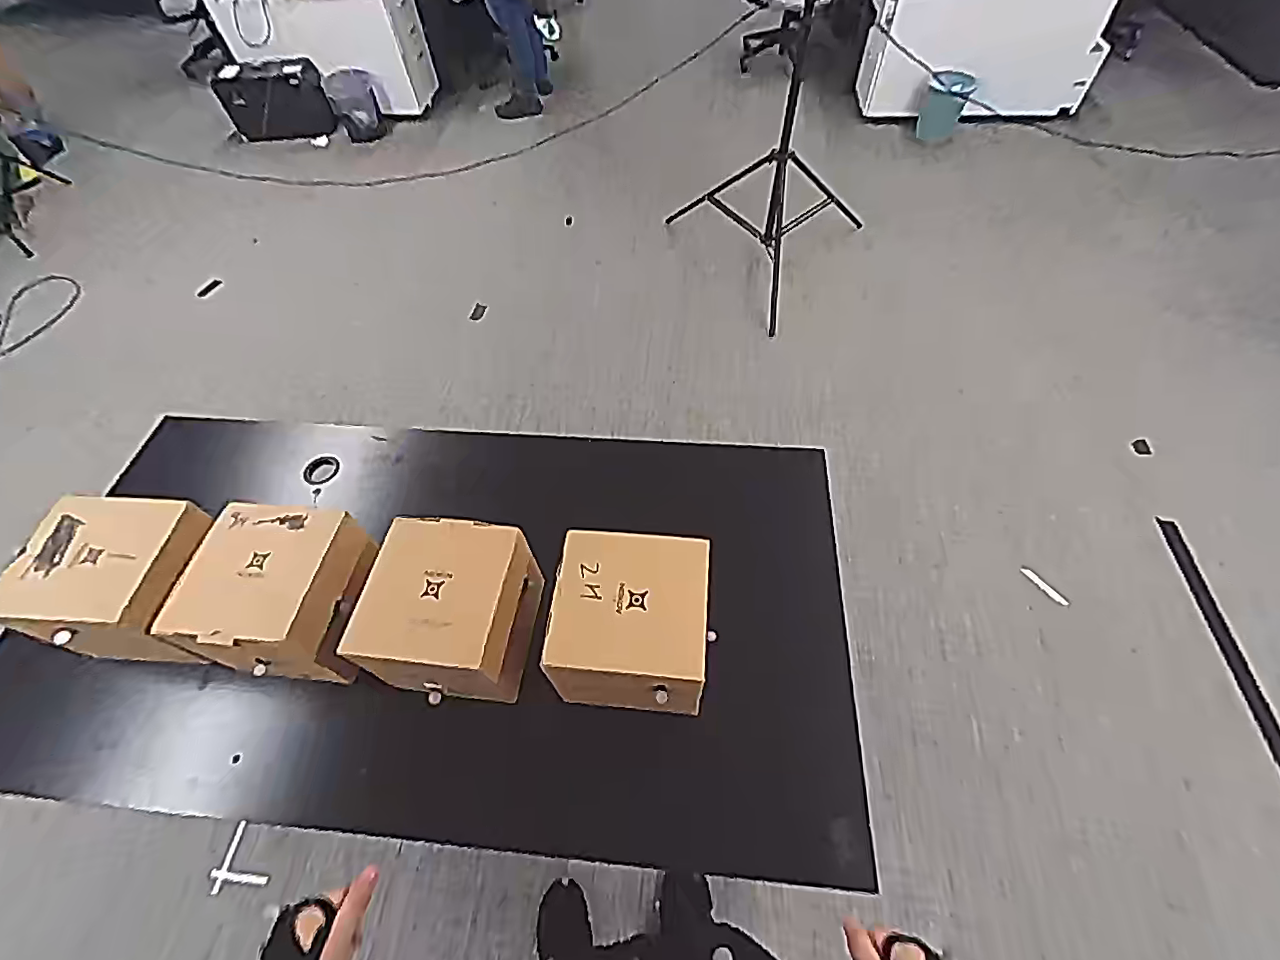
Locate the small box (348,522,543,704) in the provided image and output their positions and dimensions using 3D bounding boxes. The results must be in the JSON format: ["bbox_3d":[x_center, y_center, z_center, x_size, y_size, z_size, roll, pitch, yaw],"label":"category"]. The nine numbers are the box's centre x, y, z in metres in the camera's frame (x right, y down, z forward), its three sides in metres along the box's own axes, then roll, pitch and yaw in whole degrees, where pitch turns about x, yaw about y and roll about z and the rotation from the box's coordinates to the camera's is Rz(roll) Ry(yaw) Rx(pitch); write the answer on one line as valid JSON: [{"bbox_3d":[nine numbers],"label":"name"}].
[{"bbox_3d":[-0.232,0.175,0.703,0.168,0.176,0.179,3,56,6],"label":"small box"}]

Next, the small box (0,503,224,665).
[{"bbox_3d":[-0.670,0.146,0.740,0.179,0.176,0.168,2,56,3],"label":"small box"}]

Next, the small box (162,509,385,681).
[{"bbox_3d":[-0.456,0.159,0.723,0.168,0.176,0.179,4,56,6],"label":"small box"}]
